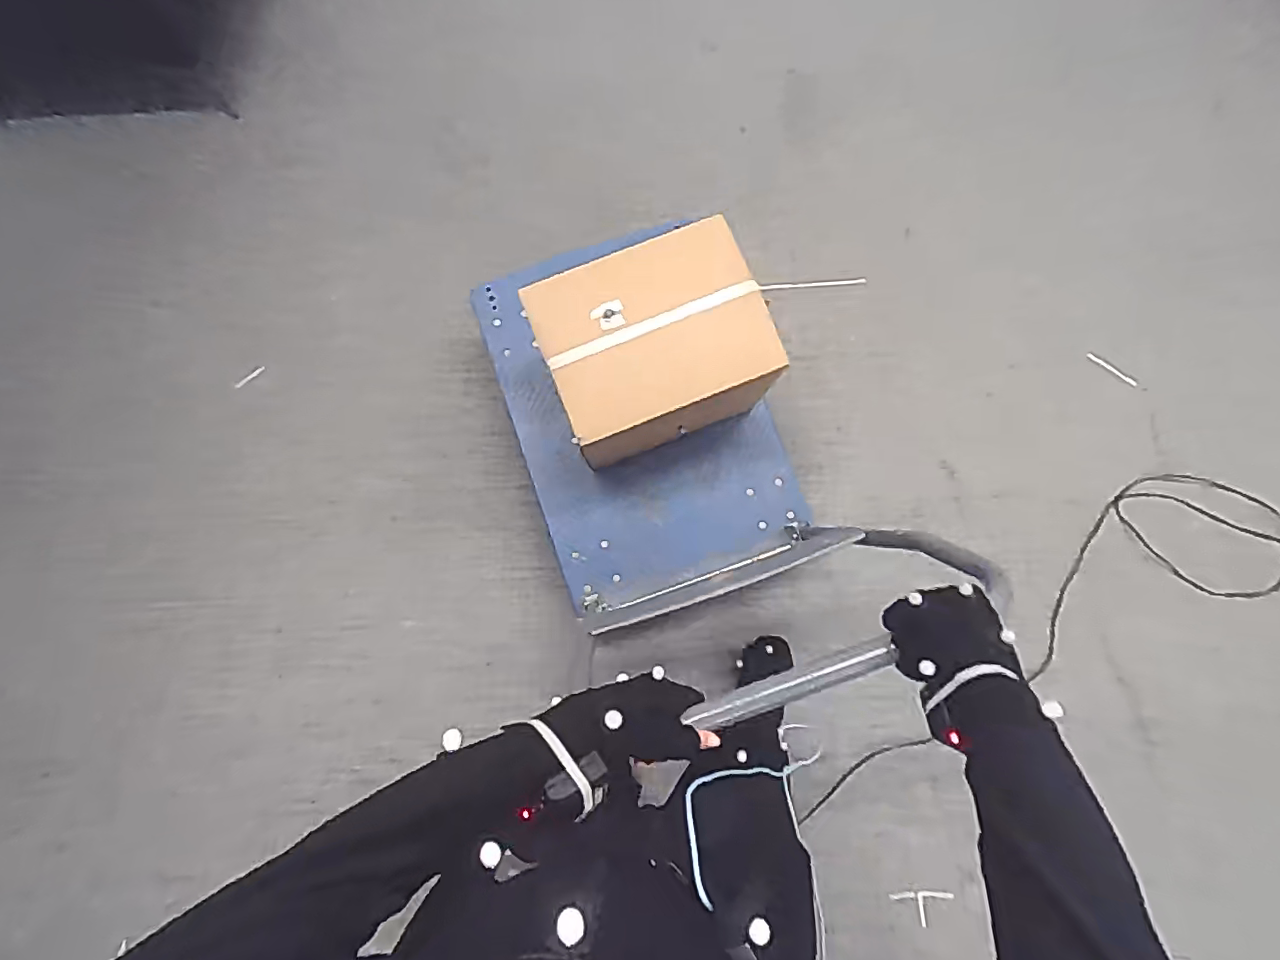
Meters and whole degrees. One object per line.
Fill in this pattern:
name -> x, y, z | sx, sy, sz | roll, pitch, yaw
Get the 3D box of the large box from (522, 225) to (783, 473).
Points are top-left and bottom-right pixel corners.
large box -> 0.022, -0.244, 1.133 | 0.408, 0.320, 0.320 | -24, 83, -2
